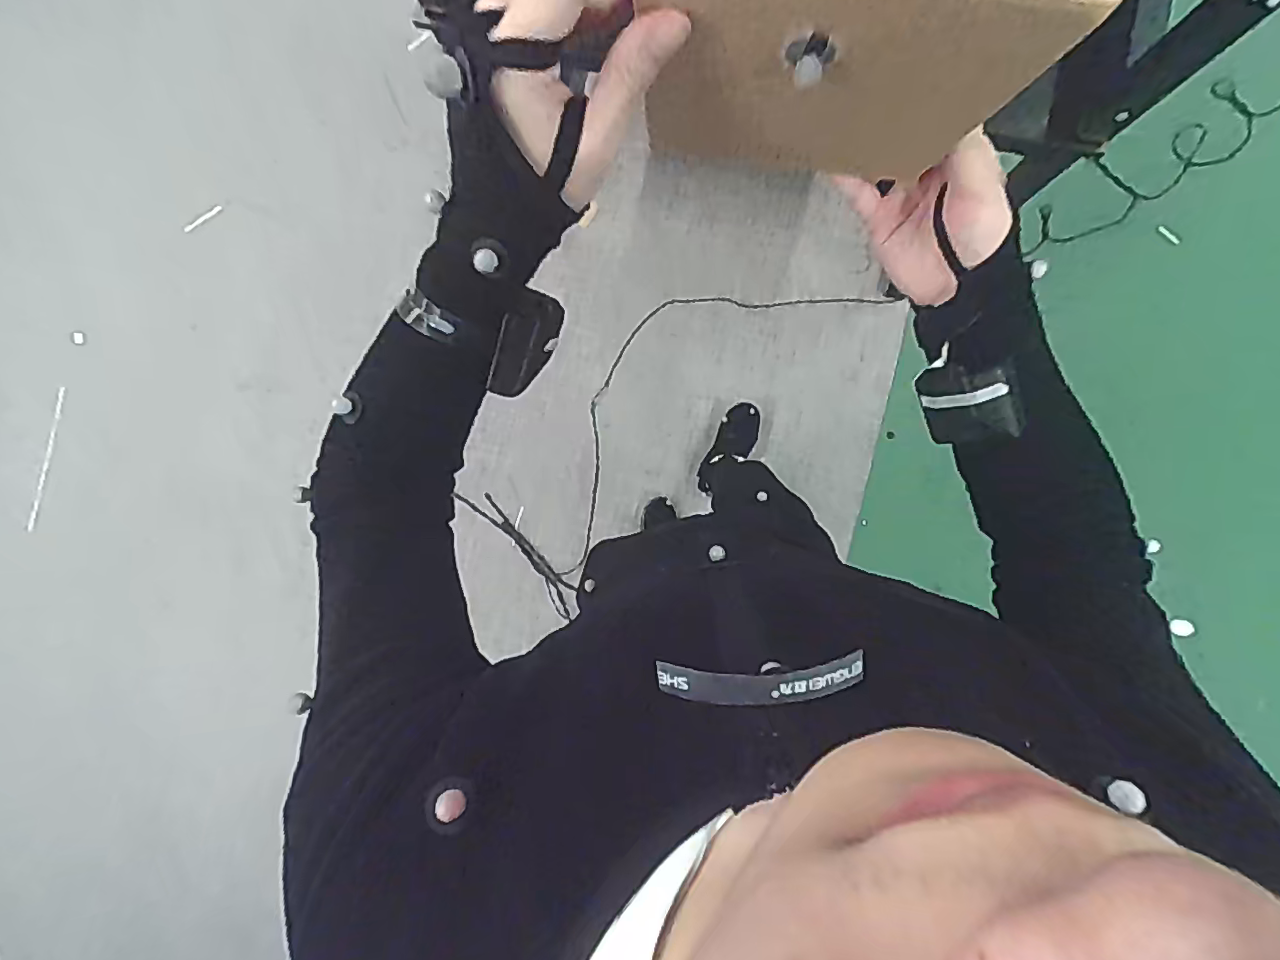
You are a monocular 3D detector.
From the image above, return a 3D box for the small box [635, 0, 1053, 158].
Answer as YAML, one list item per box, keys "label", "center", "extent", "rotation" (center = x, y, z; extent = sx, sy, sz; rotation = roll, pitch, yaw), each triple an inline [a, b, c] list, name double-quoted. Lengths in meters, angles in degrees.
- label: "small box"
  center: [0.091, -0.277, 0.254]
  extent: [0.179, 0.176, 0.168]
  rotation: [9, 102, 3]
